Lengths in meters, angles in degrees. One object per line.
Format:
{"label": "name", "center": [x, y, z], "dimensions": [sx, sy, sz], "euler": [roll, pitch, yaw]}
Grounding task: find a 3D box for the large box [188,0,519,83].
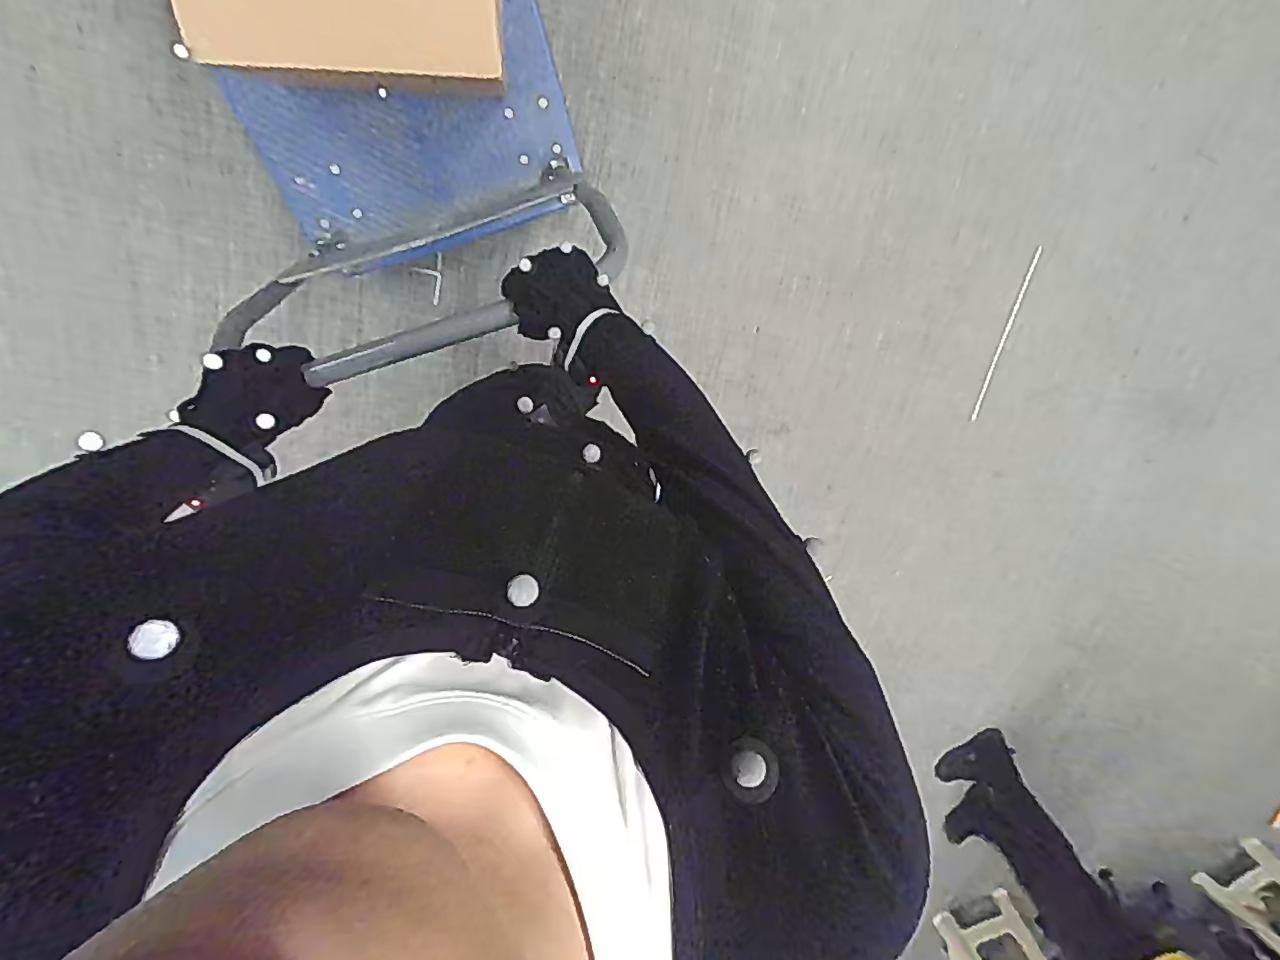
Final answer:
{"label": "large box", "center": [-0.401, -0.782, 0.792], "dimensions": [0.408, 0.320, 0.320], "euler": [-4, 122, -8]}
